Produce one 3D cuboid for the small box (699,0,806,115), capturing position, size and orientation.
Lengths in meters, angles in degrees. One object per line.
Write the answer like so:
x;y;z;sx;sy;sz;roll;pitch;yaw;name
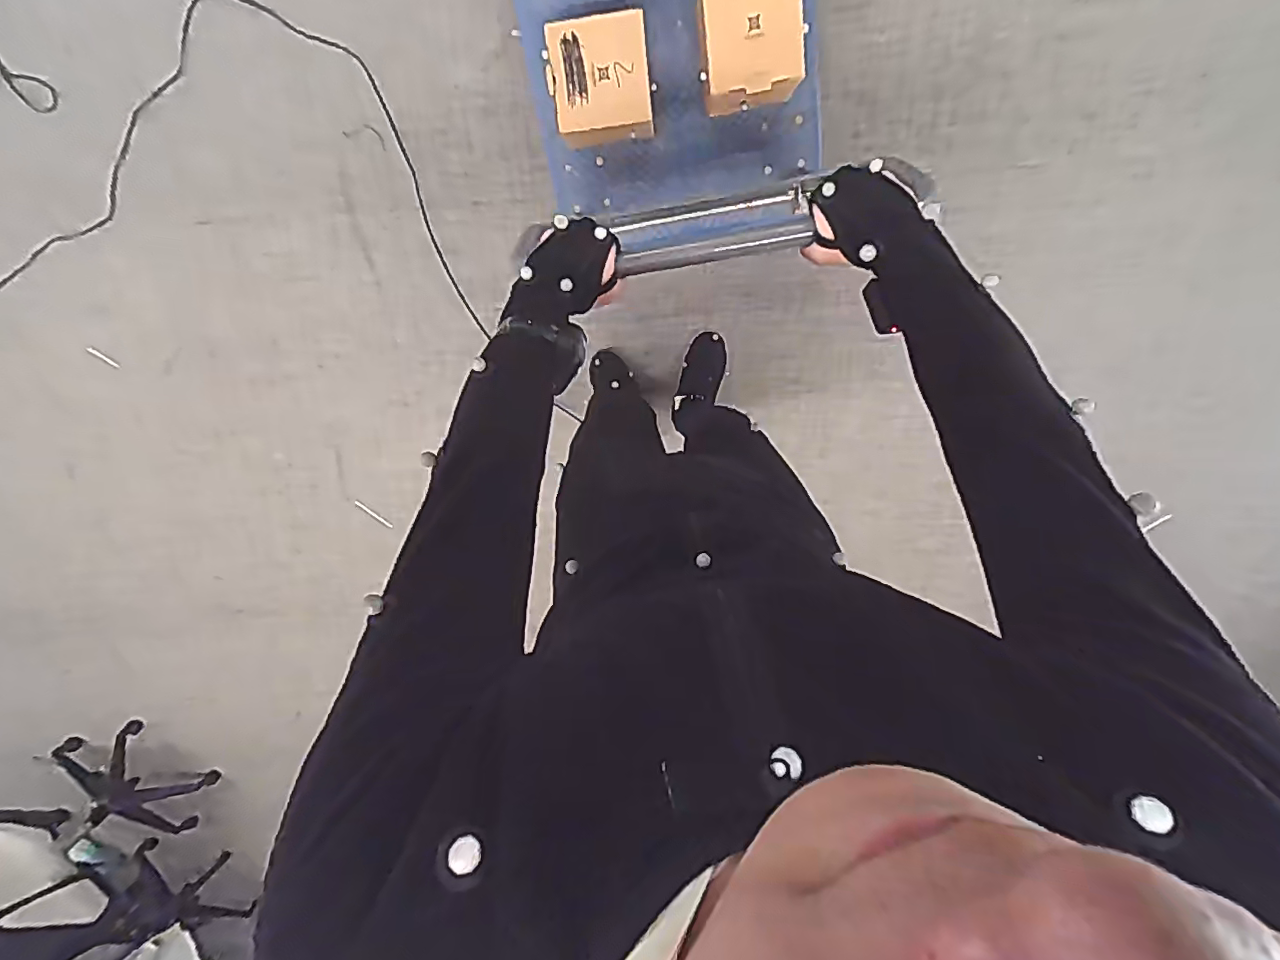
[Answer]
0.202;-0.809;1.000;0.168;0.176;0.179;-8;113;7;small box
